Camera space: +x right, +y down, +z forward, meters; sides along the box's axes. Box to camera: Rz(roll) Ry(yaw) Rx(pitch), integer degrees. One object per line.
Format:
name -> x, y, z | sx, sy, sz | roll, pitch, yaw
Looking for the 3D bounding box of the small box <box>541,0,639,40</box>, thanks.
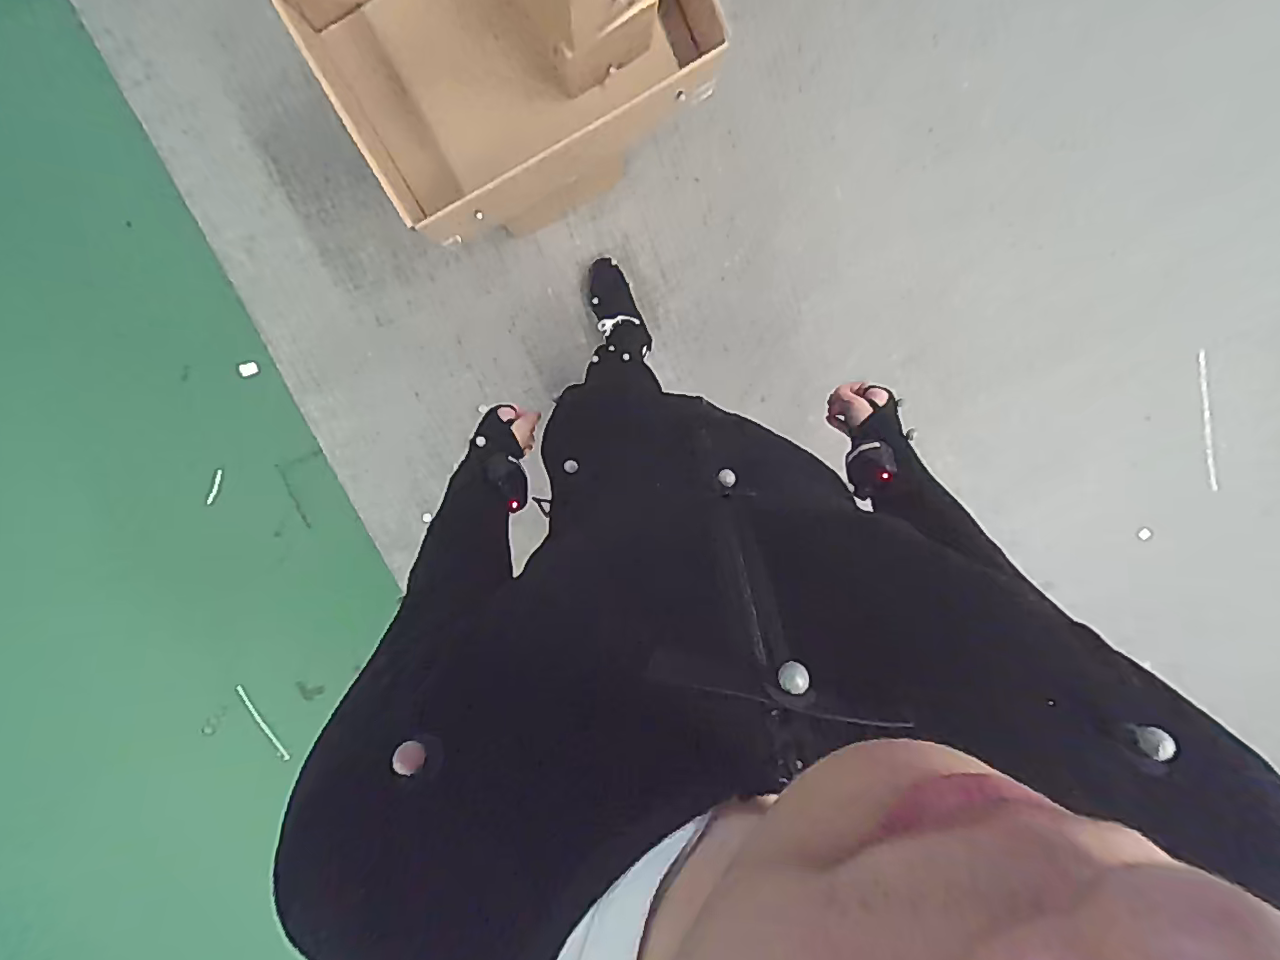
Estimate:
small box -> -0.074, -0.734, 0.711 | 0.168, 0.176, 0.179 | -34, 105, 6
